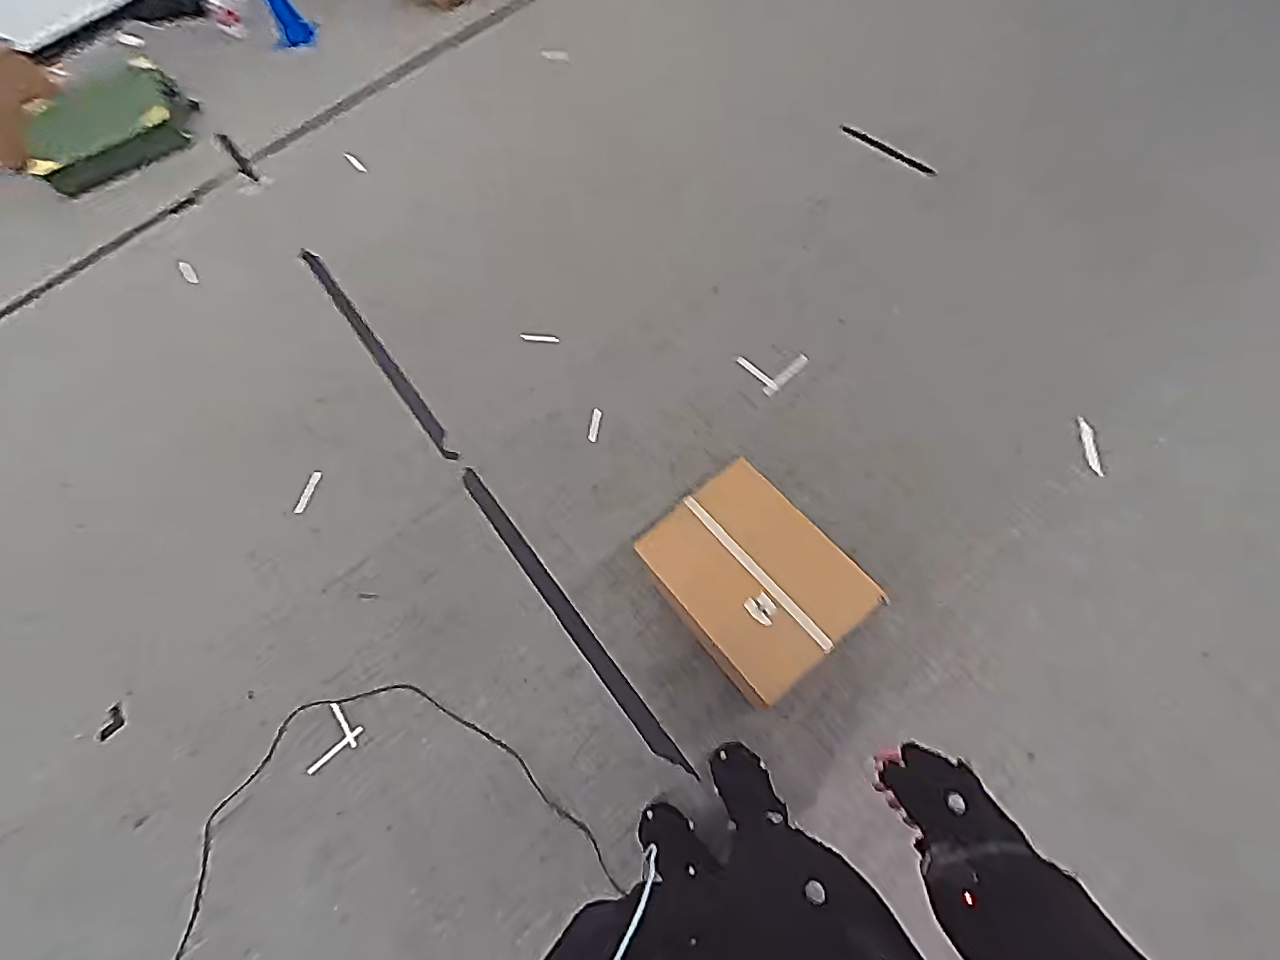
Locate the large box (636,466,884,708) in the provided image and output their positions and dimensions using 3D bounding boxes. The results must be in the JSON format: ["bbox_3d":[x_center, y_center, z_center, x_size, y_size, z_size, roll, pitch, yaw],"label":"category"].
[{"bbox_3d":[0.246,0.248,1.223,0.320,0.320,0.408,-40,68,-9],"label":"large box"}]
